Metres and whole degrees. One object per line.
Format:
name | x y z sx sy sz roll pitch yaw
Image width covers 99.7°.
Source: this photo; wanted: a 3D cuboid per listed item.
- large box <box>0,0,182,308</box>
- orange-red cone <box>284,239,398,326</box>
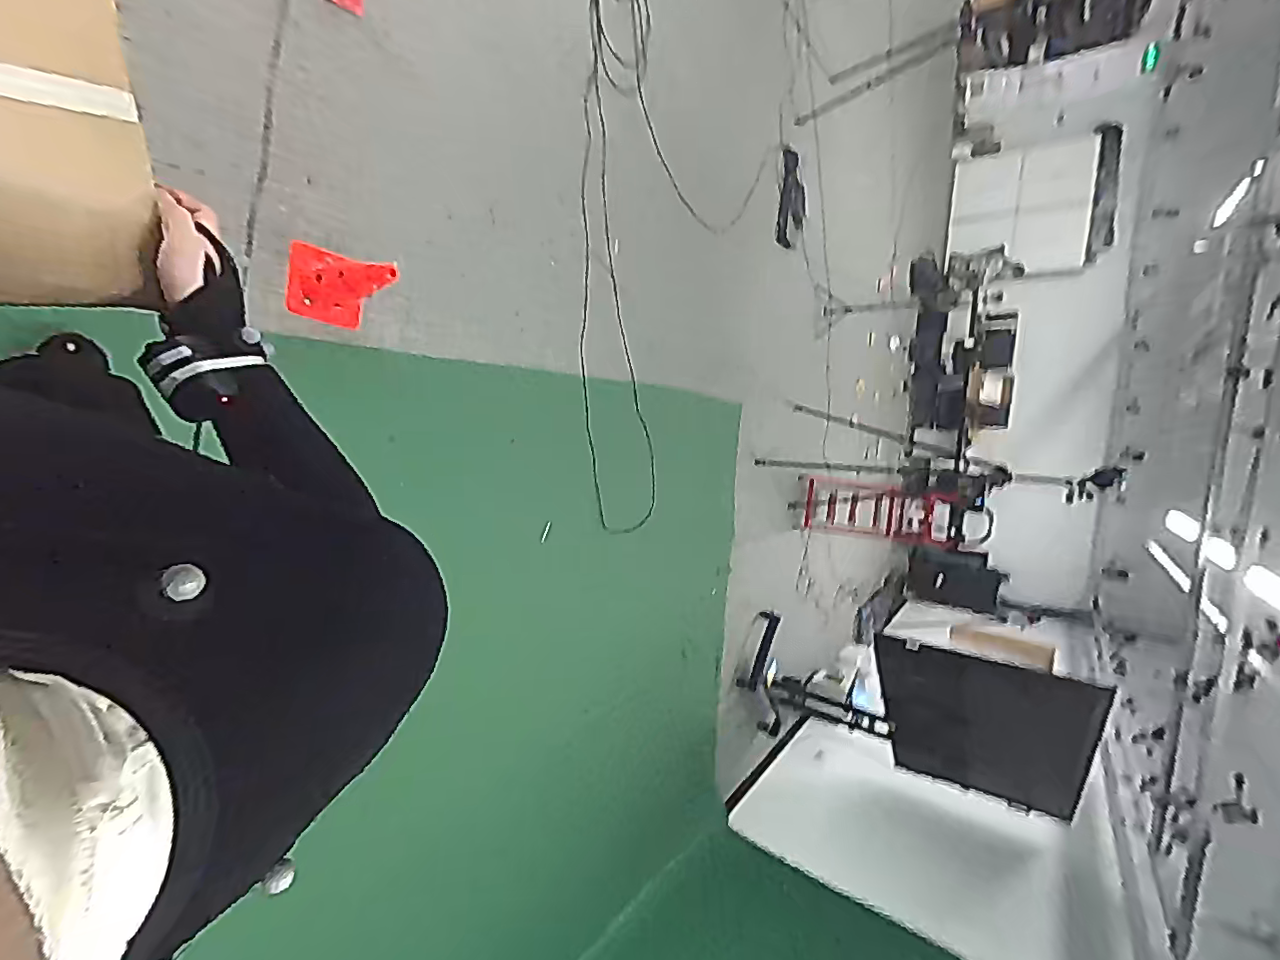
large box | -0.655 -0.307 0.388 0.408 0.320 0.320 -20 126 -48
orange-red cone | -0.757 -0.536 1.441 0.199 0.360 0.198 6 92 -55
